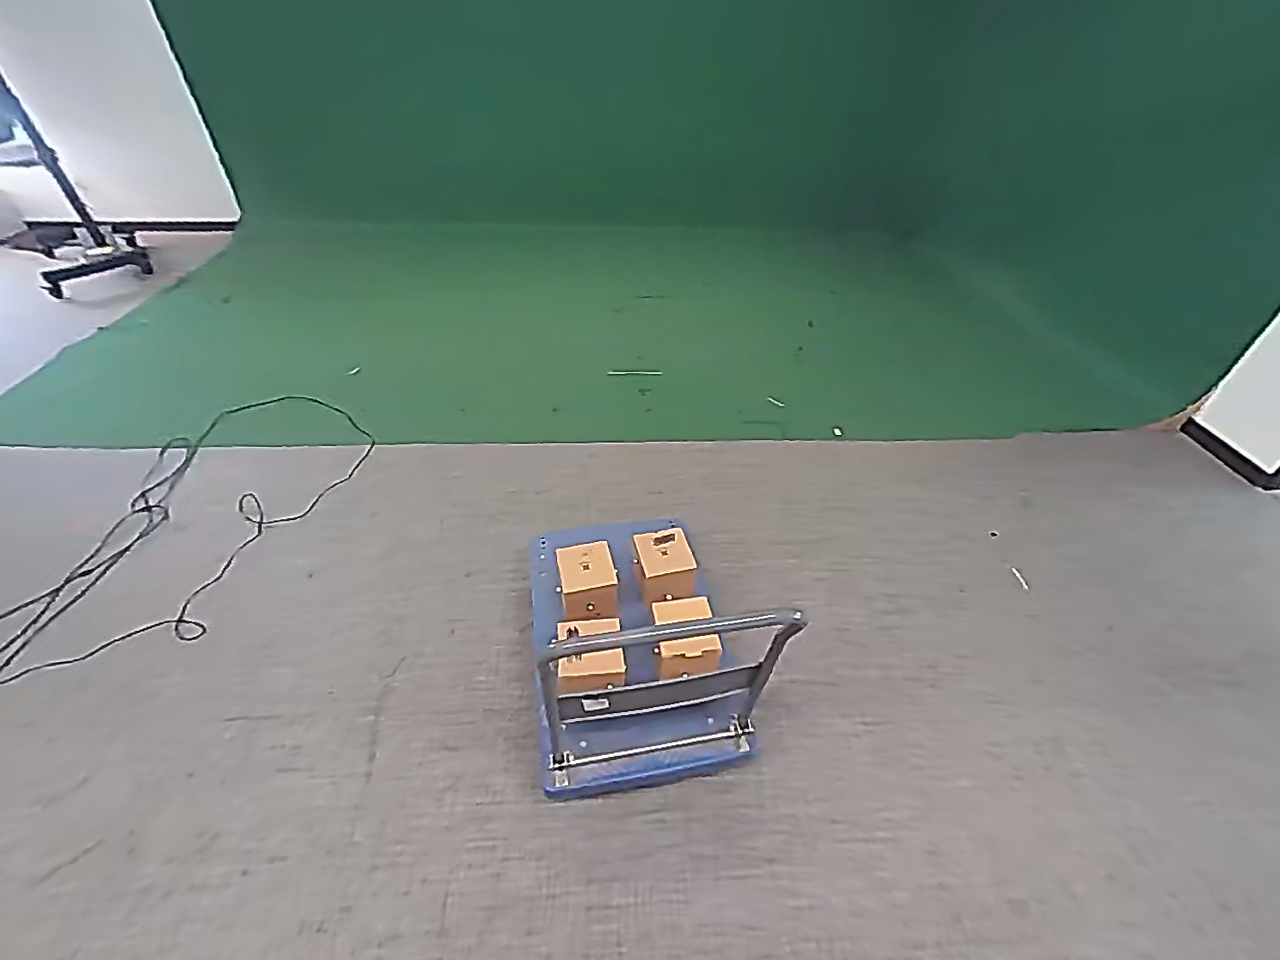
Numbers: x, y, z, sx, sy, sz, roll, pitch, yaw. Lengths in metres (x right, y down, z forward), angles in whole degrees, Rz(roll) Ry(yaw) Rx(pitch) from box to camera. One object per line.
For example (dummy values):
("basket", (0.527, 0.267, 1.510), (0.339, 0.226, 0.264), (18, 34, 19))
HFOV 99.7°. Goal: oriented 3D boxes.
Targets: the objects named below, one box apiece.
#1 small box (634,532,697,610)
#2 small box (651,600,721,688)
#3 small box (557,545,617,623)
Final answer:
("small box", (0.076, 0.299, 1.776), (0.168, 0.176, 0.179), (-9, 44, -11))
("small box", (0.127, 0.480, 1.581), (0.168, 0.176, 0.179), (-6, 43, -8))
("small box", (-0.167, 0.338, 1.725), (0.168, 0.176, 0.179), (-8, 43, -12))
